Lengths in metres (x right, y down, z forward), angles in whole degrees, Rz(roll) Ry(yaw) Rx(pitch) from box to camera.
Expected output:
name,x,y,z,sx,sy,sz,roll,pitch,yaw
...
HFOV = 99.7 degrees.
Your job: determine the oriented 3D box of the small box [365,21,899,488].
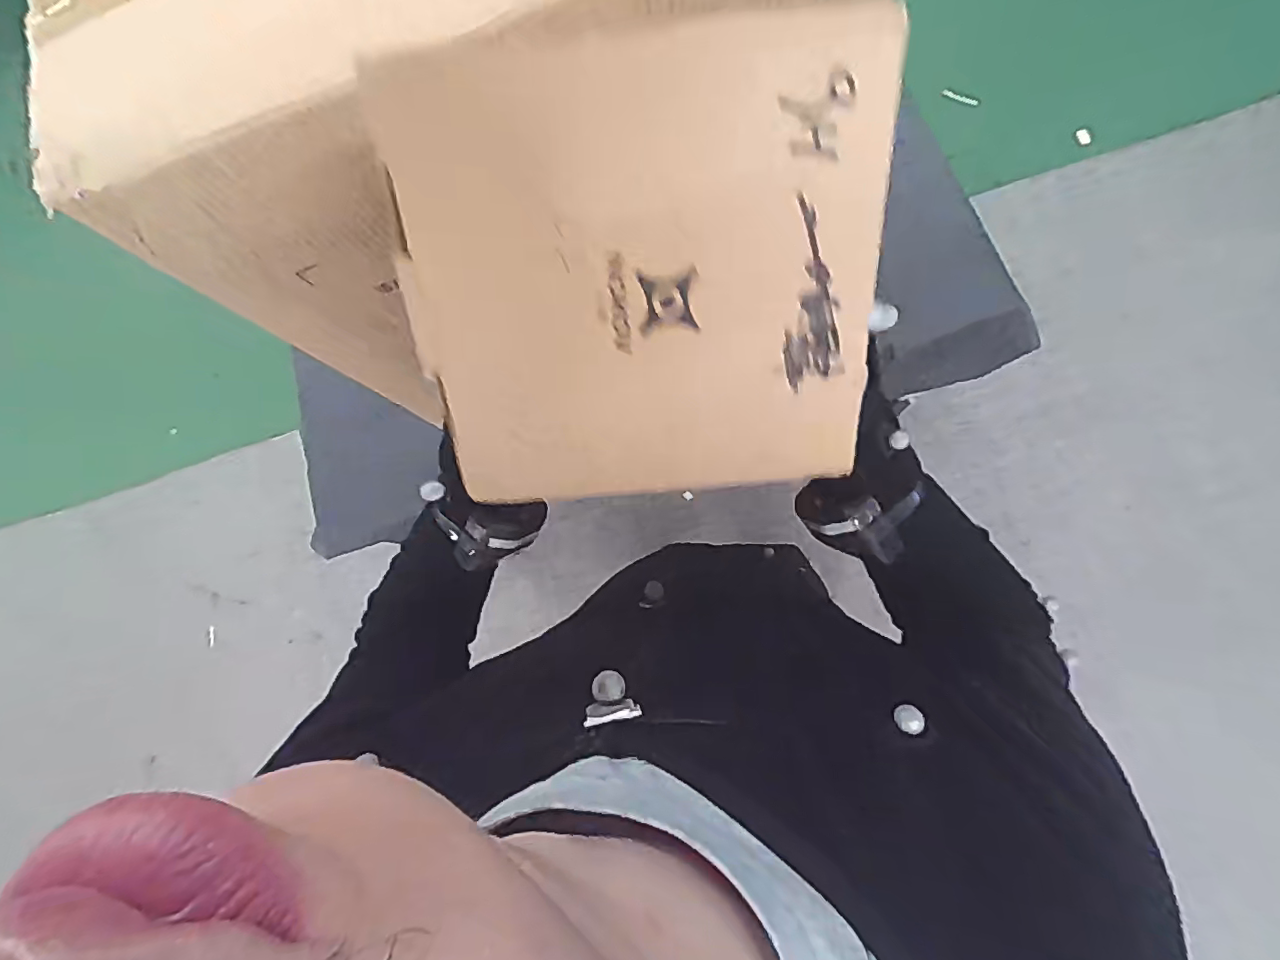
name,x,y,z,sx,sy,sz,roll,pitch,yaw
small box,0.001,-0.109,0.281,0.179,0.176,0.168,-3,120,2
